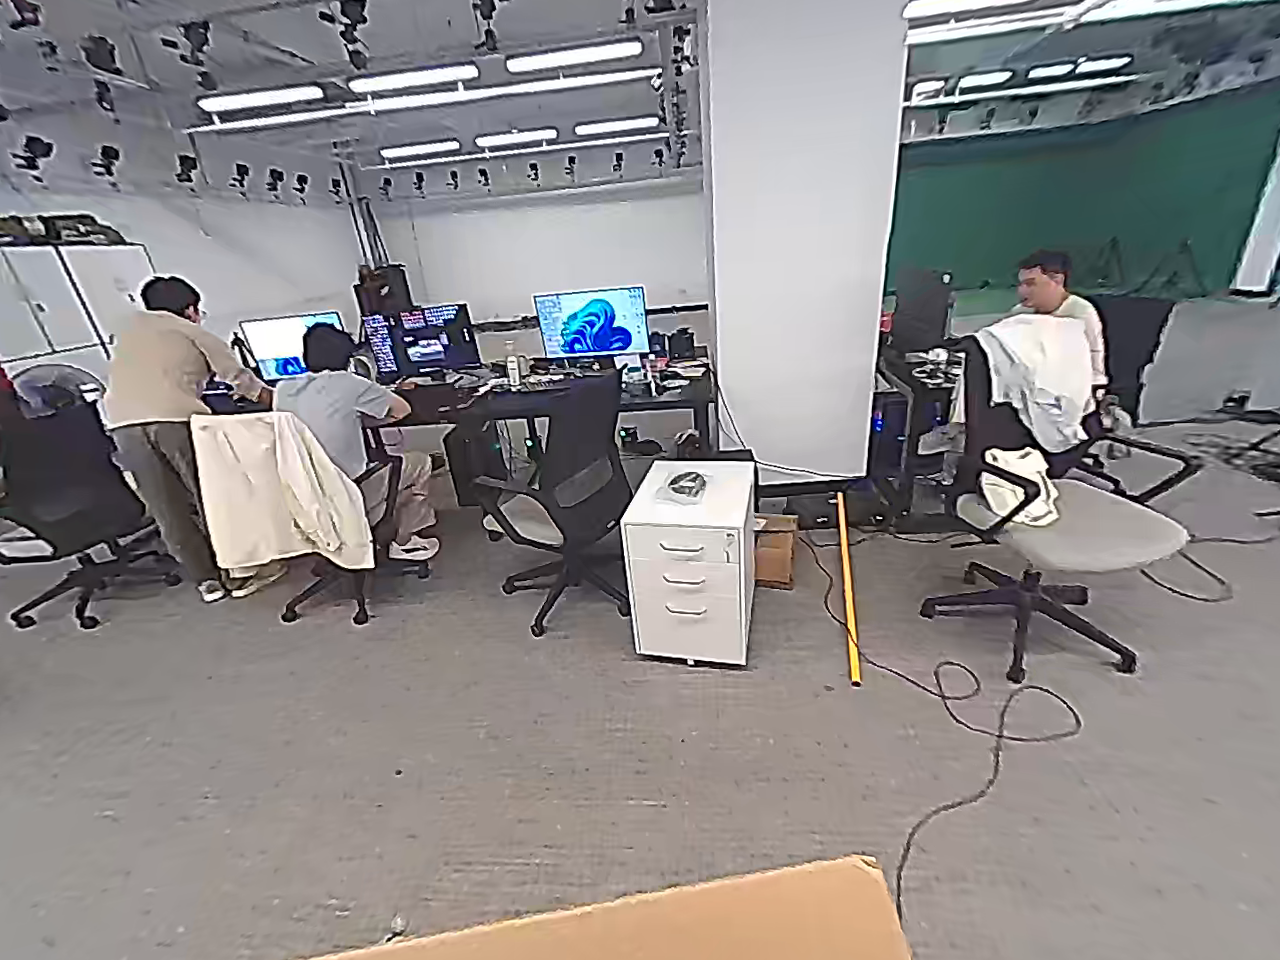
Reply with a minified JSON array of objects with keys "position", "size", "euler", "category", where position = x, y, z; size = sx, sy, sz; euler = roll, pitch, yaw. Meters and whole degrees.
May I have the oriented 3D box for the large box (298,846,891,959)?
[{"position":[-0.017,0.491,0.380],"size":[0.408,0.320,0.320],"euler":[-9,53,-2],"category":"large box"}]
